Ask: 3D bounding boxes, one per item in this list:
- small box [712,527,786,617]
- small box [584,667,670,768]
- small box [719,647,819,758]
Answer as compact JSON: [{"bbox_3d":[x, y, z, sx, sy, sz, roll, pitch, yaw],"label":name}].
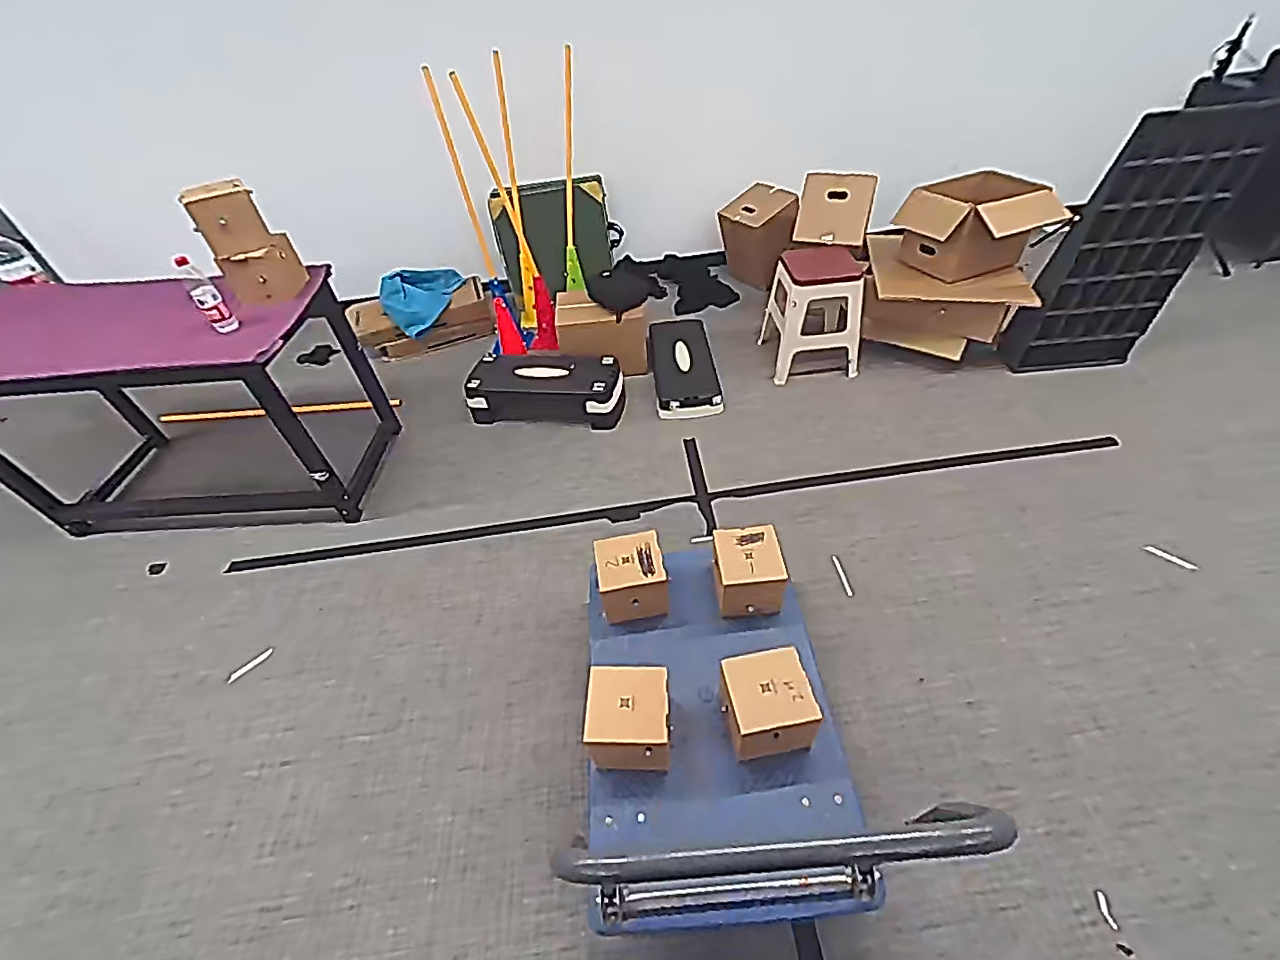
[{"bbox_3d":[0.288,0.251,1.469,0.168,0.176,0.179,-6,47,1],"label":"small box"},{"bbox_3d":[-0.023,0.539,1.223,0.179,0.176,0.168,-1,45,3],"label":"small box"},{"bbox_3d":[0.283,0.505,1.222,0.179,0.176,0.168,-10,46,-3],"label":"small box"}]
